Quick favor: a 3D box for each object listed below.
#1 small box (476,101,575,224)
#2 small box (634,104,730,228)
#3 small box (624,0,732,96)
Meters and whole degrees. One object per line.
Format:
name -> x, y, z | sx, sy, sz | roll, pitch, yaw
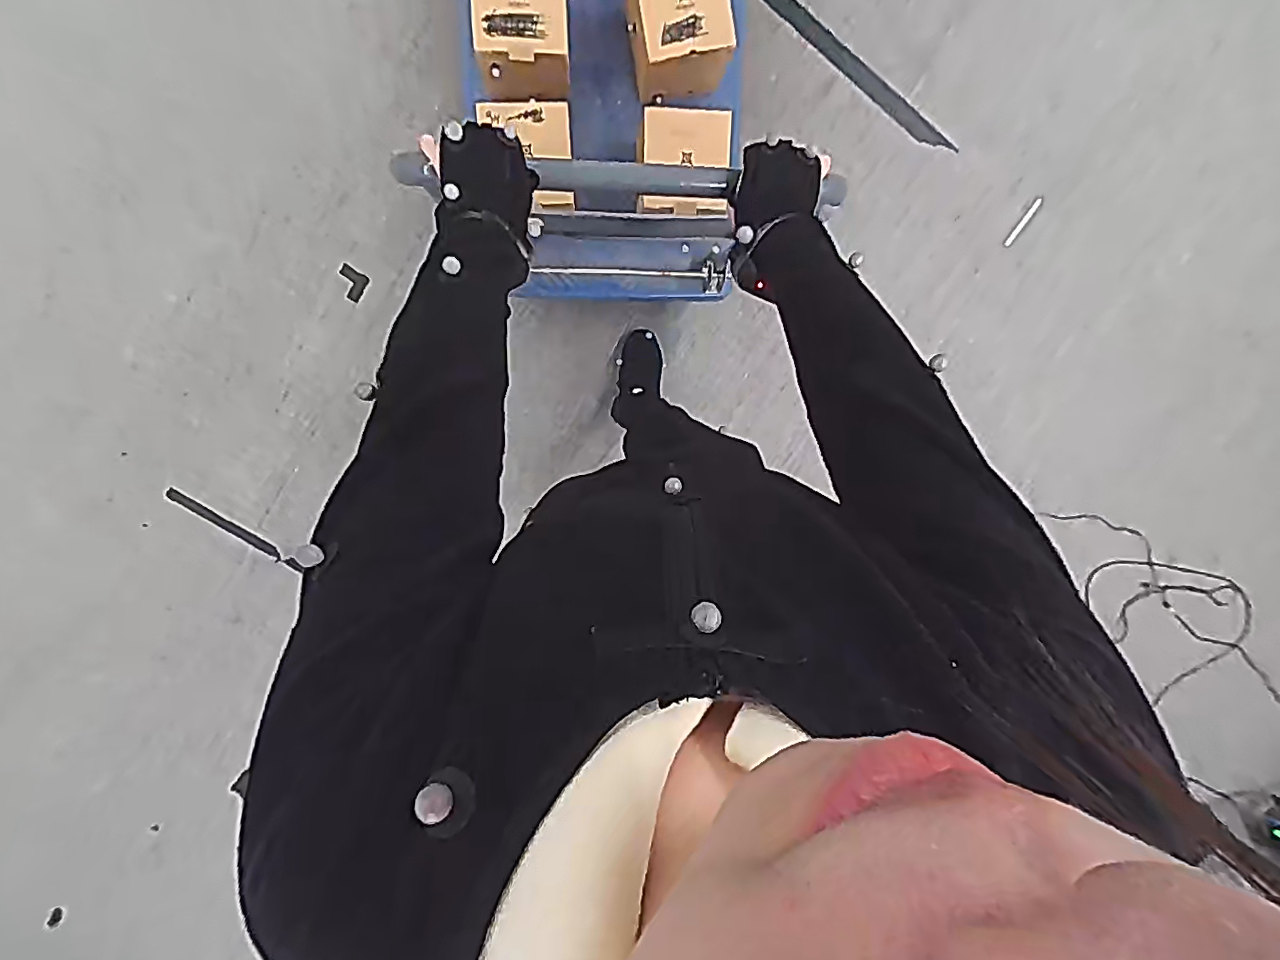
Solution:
small box -> -0.217, -0.616, 1.070 | 0.168, 0.176, 0.179 | -4, 103, -5
small box -> 0.079, -0.624, 1.099 | 0.168, 0.176, 0.179 | 0, 102, -6
small box -> 0.068, -0.876, 1.042 | 0.168, 0.176, 0.179 | -12, 102, -3
